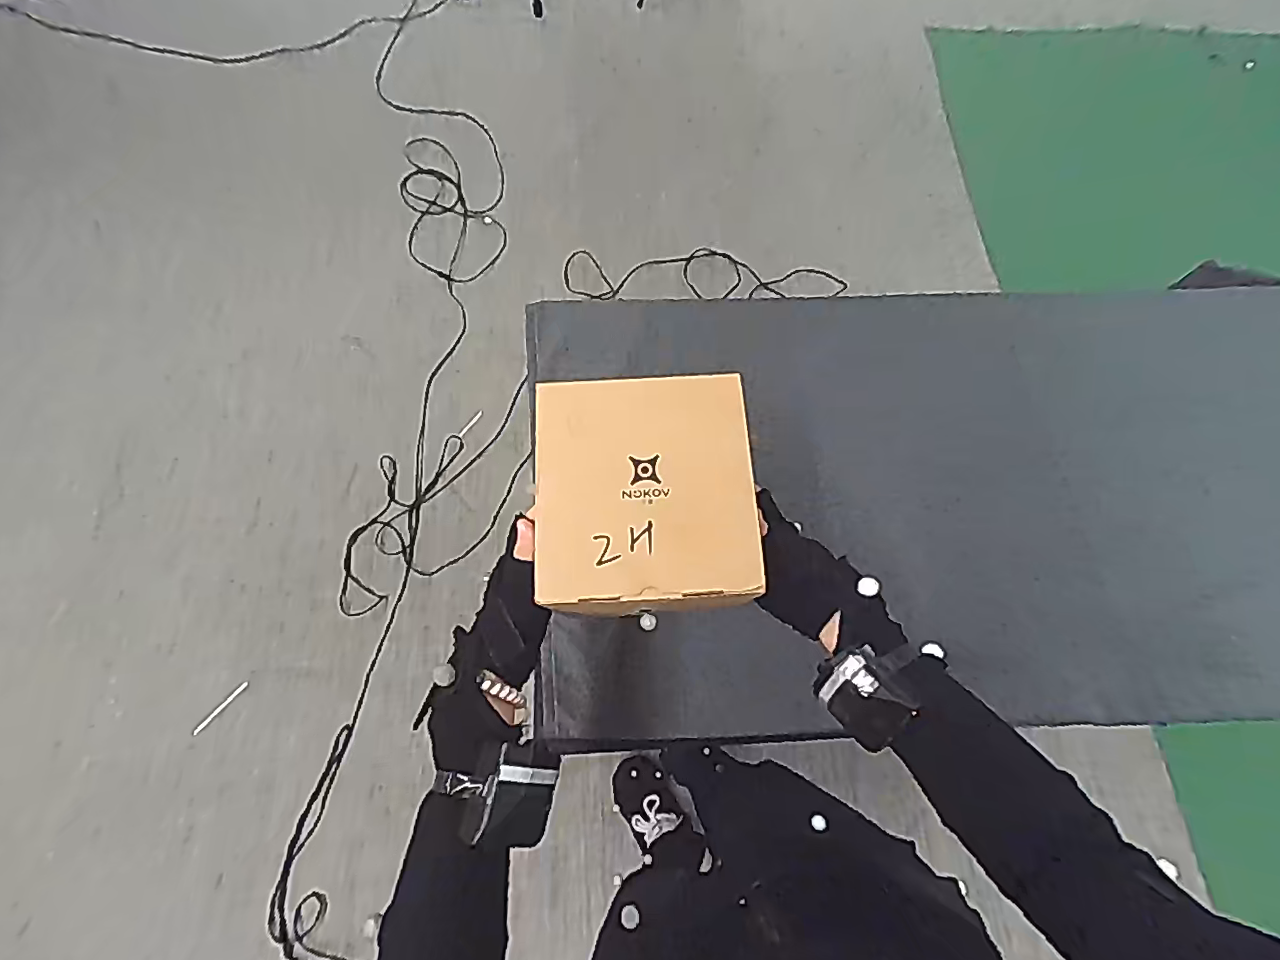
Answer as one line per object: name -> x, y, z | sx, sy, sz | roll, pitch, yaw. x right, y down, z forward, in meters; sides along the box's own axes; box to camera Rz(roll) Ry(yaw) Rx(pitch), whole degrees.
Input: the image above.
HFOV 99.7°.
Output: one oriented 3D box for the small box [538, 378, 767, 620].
small box -> 0.006, 0.027, 0.485 | 0.168, 0.176, 0.179 | -2, 72, 0
